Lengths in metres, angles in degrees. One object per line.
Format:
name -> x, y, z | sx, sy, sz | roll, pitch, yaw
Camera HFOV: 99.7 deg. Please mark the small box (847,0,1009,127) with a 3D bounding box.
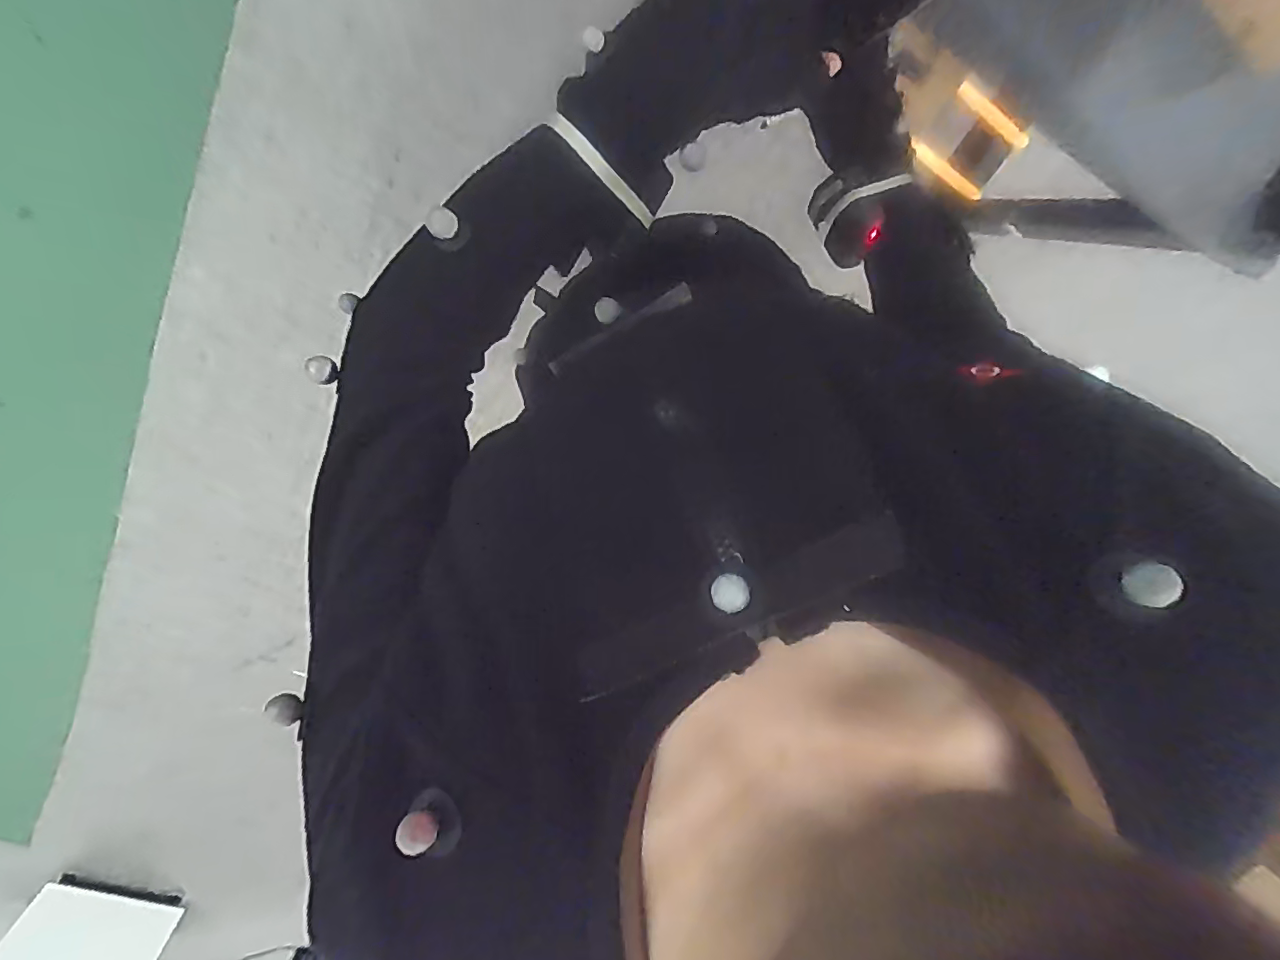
small box -> 0.508, -0.784, 0.989 | 0.168, 0.176, 0.179 | 30, 112, -18
